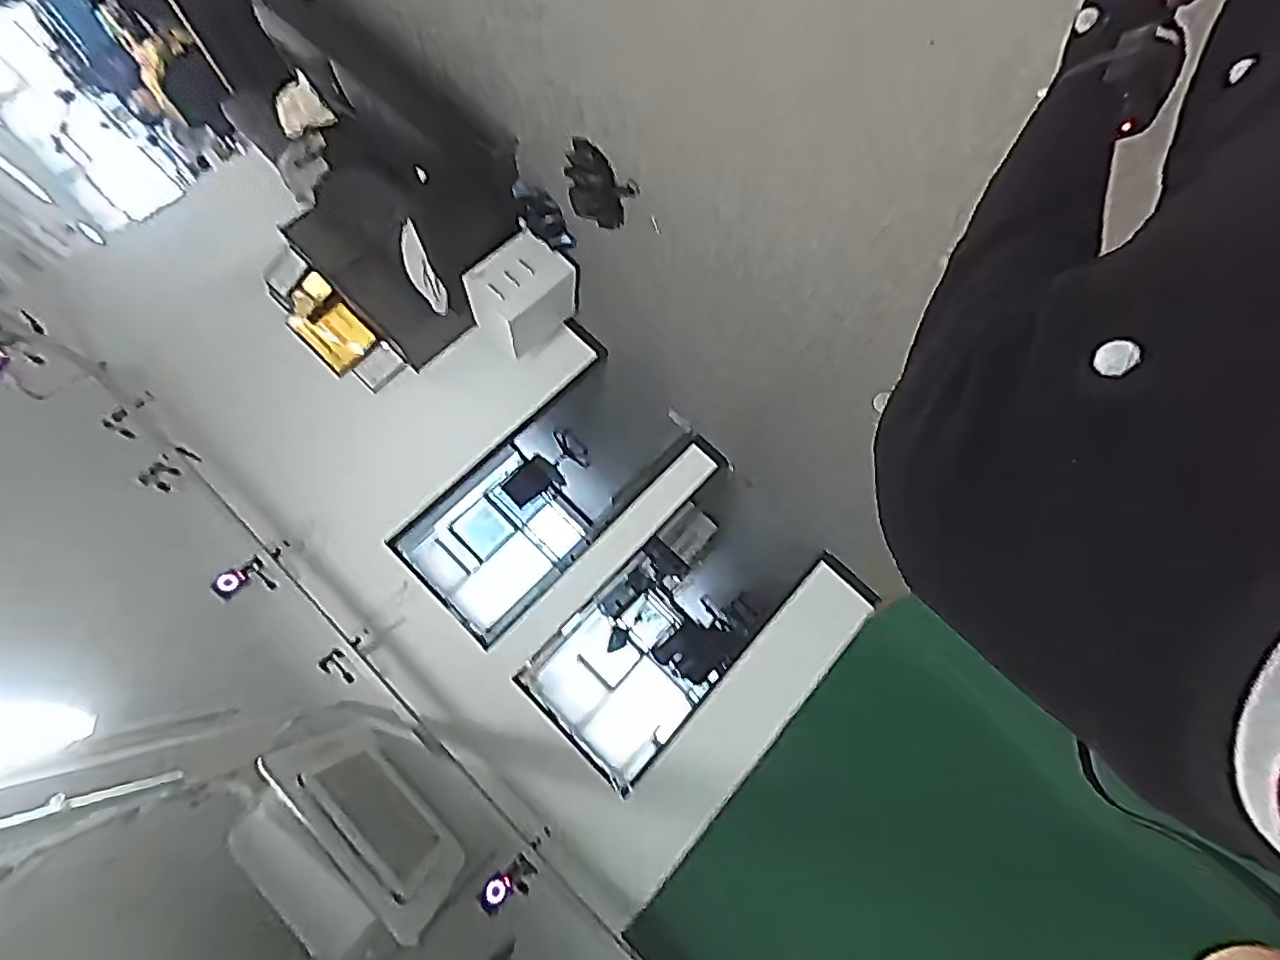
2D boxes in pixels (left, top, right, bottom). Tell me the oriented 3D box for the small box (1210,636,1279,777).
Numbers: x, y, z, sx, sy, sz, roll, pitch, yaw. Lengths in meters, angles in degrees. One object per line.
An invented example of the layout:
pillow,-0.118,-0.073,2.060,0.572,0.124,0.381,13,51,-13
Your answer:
small box,1.042,0.352,0.807,0.168,0.176,0.179,45,165,4
